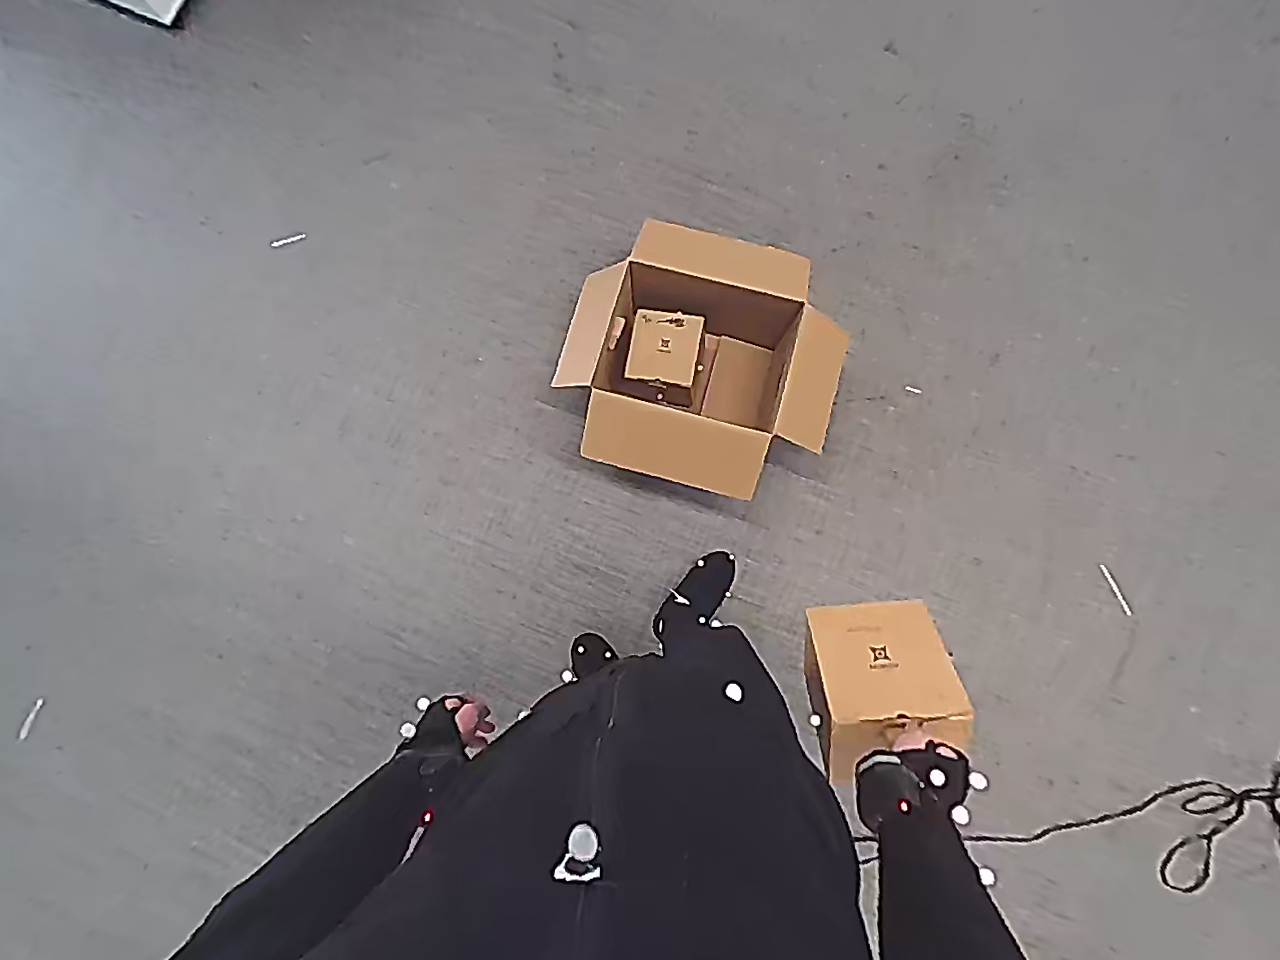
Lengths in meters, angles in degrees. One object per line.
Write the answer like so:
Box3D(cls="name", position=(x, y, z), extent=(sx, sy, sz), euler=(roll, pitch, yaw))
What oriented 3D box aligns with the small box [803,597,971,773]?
Box3D(cls="small box", position=(0.327, 0.288, 0.755), extent=(0.168, 0.179, 0.176), euler=(-5, 127, 7))
